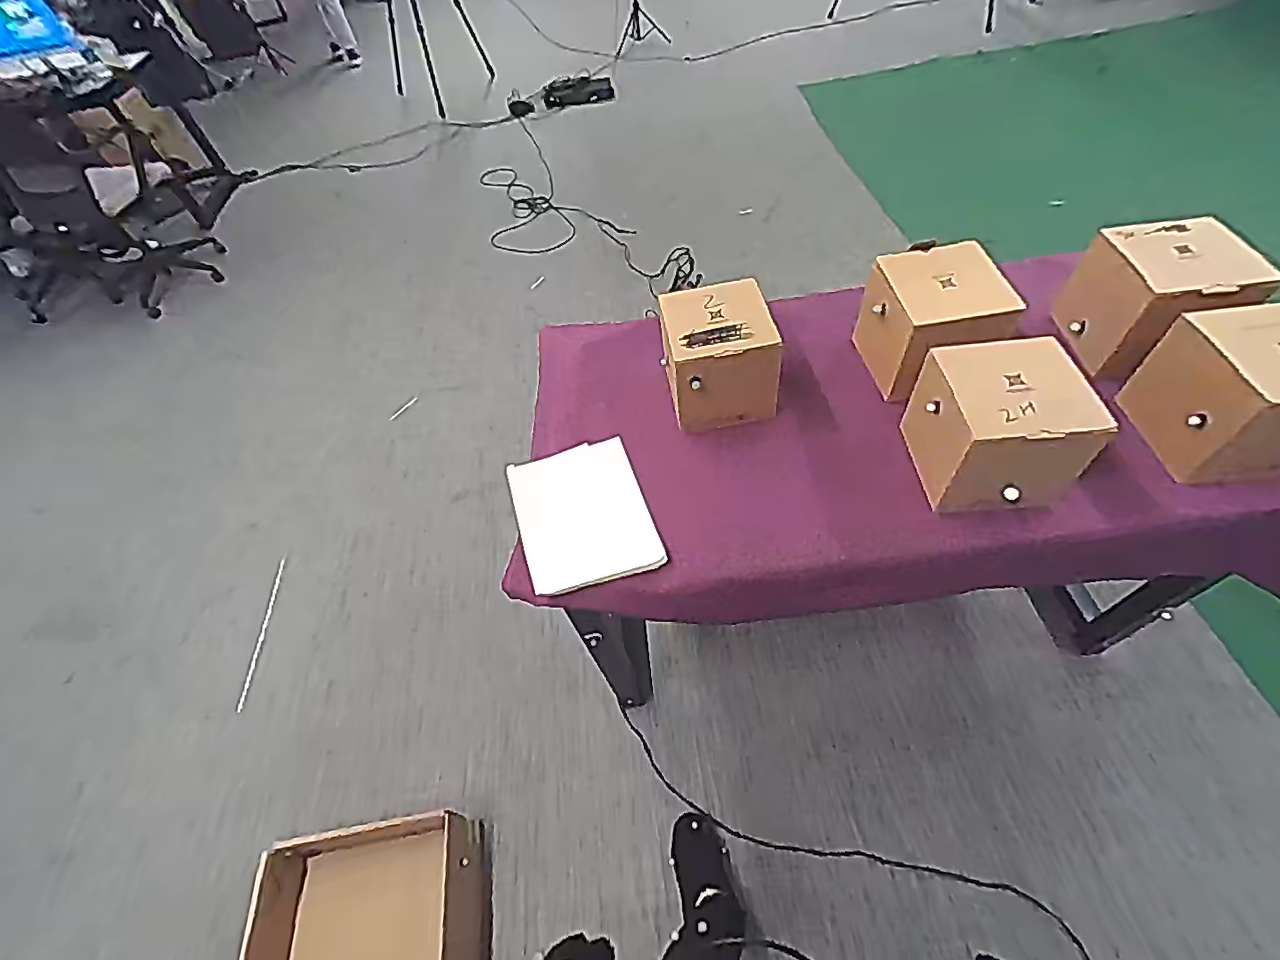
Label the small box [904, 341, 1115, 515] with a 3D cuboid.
[{"bbox_3d":[0.497,-0.070,0.765,0.168,0.176,0.179,-4,53,6],"label":"small box"}]

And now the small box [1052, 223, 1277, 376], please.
[{"bbox_3d":[0.819,-0.282,0.872,0.168,0.176,0.179,-3,54,7],"label":"small box"}]

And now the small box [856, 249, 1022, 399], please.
[{"bbox_3d":[0.482,-0.251,0.905,0.168,0.176,0.179,-9,52,2],"label":"small box"}]
